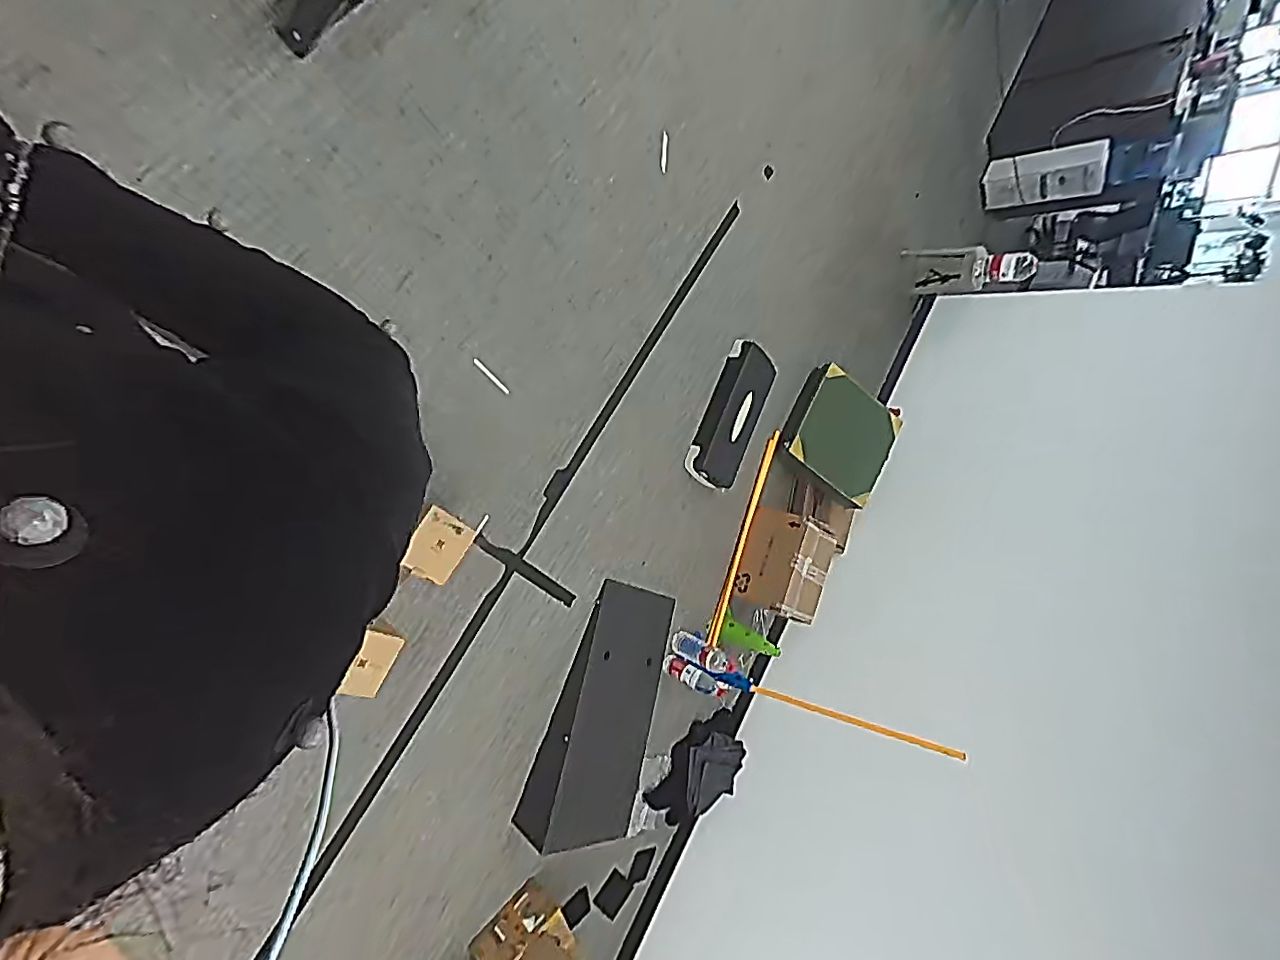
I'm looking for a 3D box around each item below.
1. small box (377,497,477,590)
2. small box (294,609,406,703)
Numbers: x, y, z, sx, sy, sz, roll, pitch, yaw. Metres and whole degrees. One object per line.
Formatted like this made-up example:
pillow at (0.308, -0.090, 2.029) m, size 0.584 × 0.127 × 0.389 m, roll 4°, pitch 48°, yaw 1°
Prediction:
small box at (-0.596, 0.172, 1.496) m, size 0.168 × 0.176 × 0.179 m, roll 47°, pitch 68°, yaw -42°
small box at (-0.759, 0.452, 1.406) m, size 0.179 × 0.176 × 0.168 m, roll 38°, pitch 74°, yaw -45°
